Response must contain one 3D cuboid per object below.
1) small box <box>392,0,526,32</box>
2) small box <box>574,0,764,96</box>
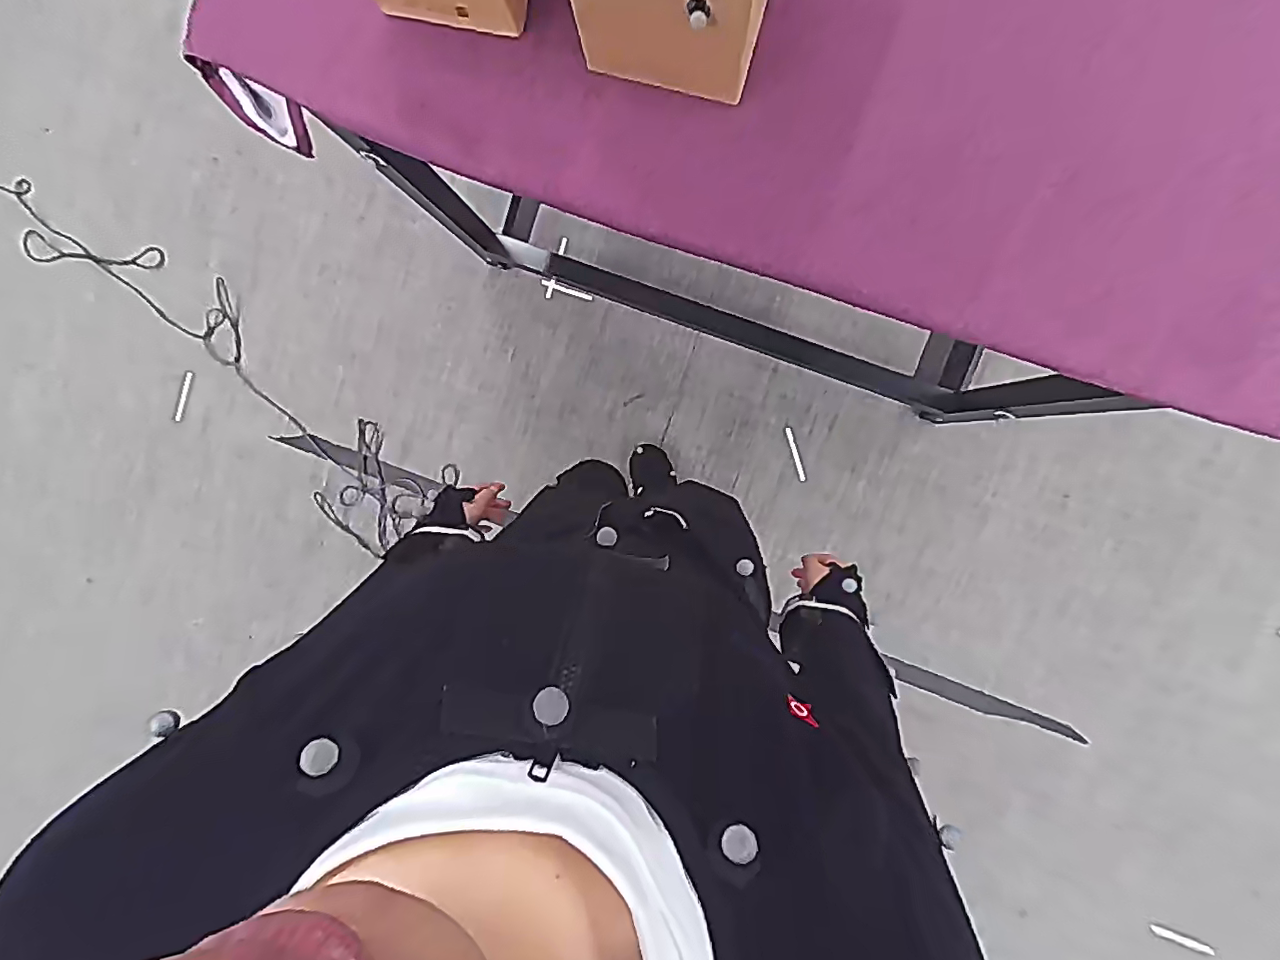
[{"bbox_3d":[-0.201,-0.594,0.529,0.168,0.176,0.179,13,95,4],"label":"small box"},{"bbox_3d":[0.040,-0.509,0.512,0.179,0.176,0.168,16,95,3],"label":"small box"}]
